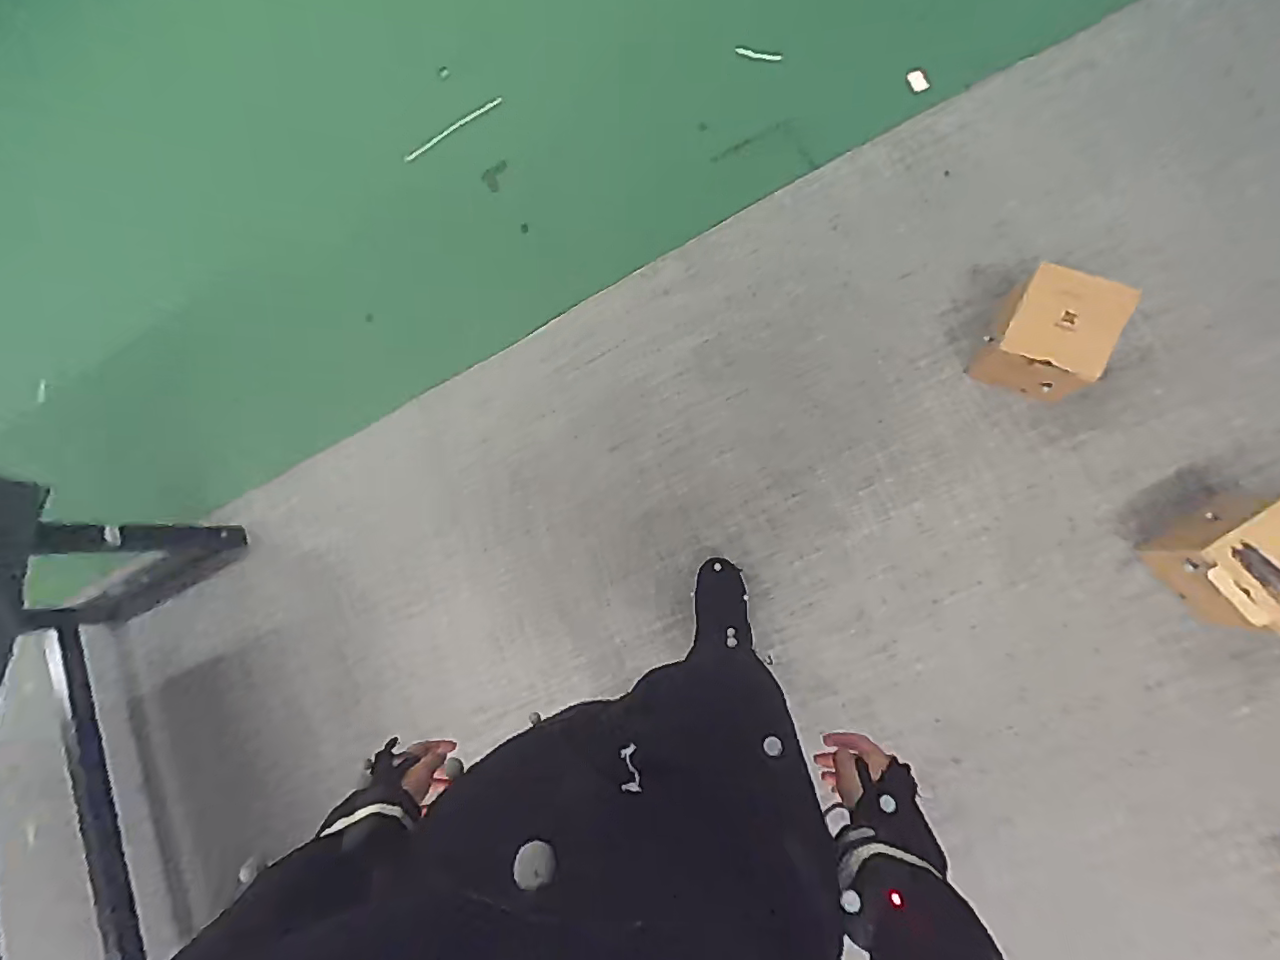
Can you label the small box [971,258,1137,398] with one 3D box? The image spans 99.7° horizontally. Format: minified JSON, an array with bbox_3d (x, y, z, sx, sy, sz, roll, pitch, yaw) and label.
[{"bbox_3d":[0.757,-0.273,1.014,0.168,0.176,0.179,25,89,14],"label":"small box"}]
